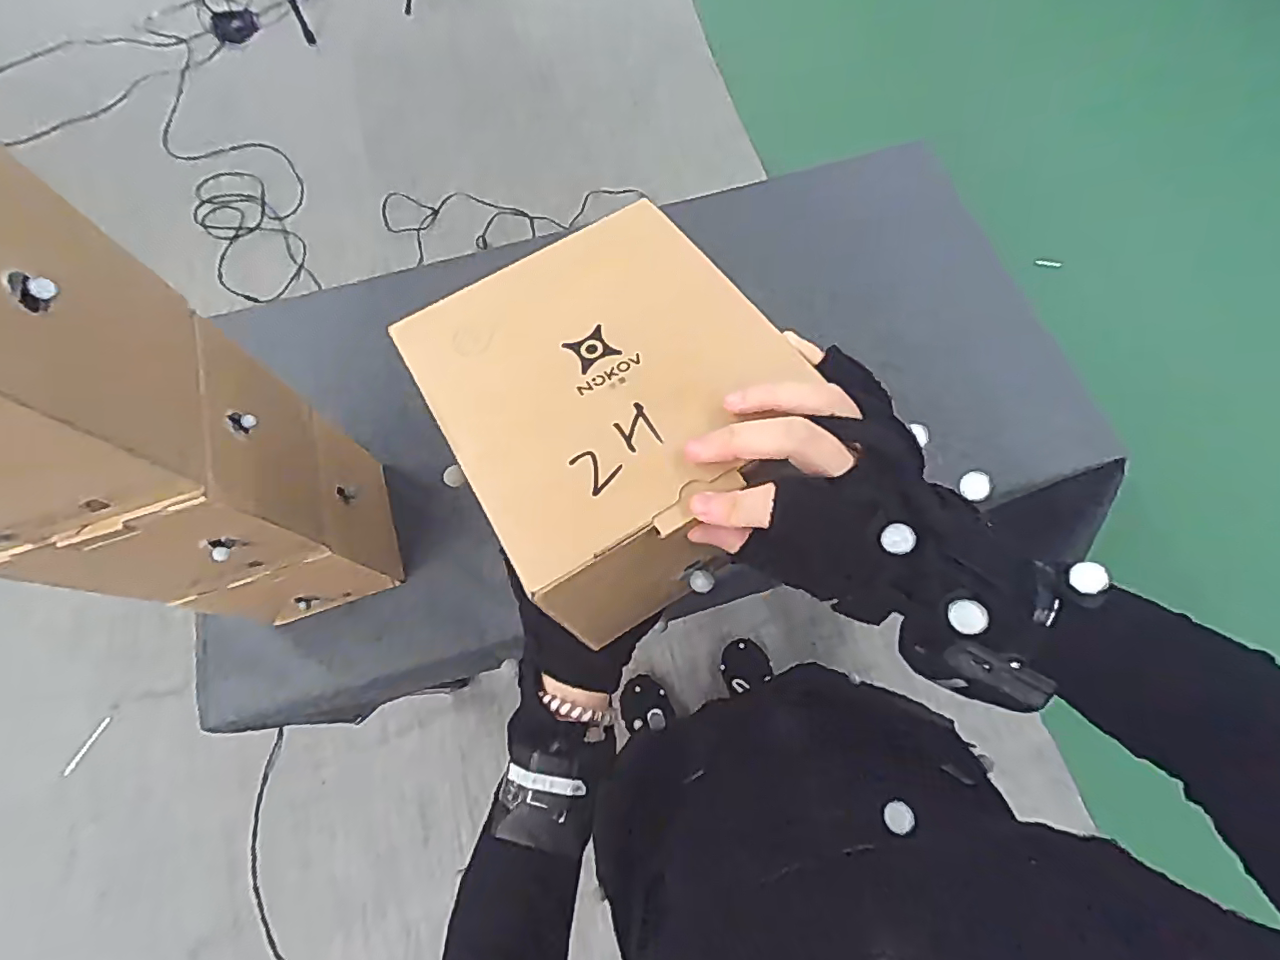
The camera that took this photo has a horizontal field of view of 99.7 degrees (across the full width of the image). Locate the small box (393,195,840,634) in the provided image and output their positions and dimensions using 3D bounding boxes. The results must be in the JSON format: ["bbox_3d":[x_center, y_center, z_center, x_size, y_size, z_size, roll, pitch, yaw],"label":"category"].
[{"bbox_3d":[-0.014,-0.027,0.339,0.168,0.176,0.179,-31,67,-8],"label":"small box"}]

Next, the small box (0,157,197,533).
[{"bbox_3d":[-0.416,-0.076,0.331,0.168,0.176,0.179,-19,70,-7],"label":"small box"}]

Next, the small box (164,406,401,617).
[{"bbox_3d":[-0.406,0.046,0.634,0.168,0.176,0.179,-18,71,-5],"label":"small box"}]

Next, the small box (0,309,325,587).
[{"bbox_3d":[-0.410,-0.013,0.482,0.168,0.176,0.179,-18,70,-6],"label":"small box"}]
